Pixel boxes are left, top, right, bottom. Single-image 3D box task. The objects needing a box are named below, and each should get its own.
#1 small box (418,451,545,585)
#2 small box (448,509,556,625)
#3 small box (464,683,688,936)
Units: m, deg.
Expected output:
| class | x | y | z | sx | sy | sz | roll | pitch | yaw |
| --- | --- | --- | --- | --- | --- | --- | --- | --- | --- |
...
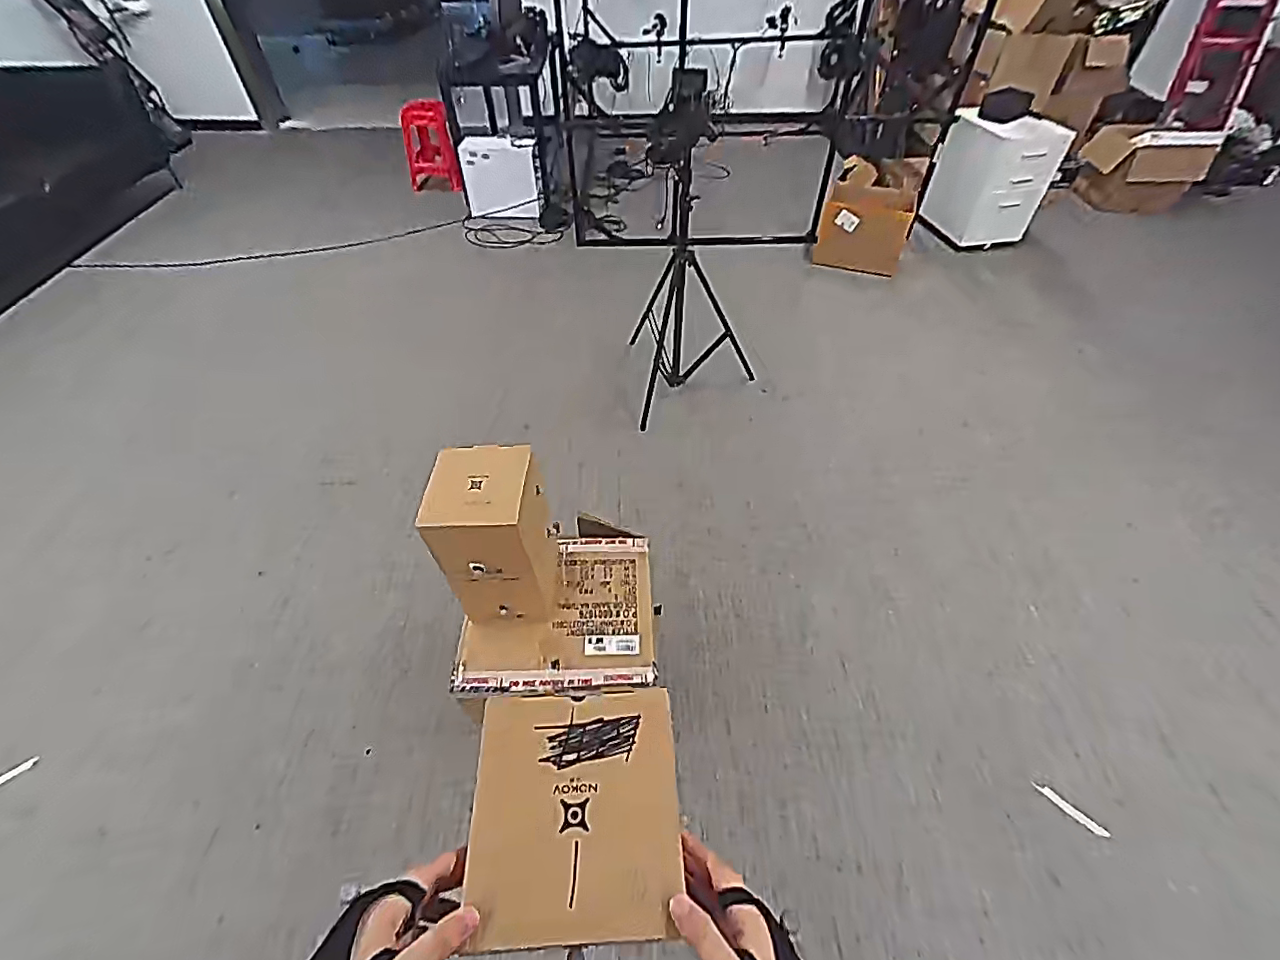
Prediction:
| class | x | y | z | sx | sy | sz | roll | pitch | yaw |
| --- | --- | --- | --- | --- | --- | --- | --- | --- | --- |
| small box | -0.268 | 0.069 | 0.966 | 0.168 | 0.176 | 0.179 | -2 | 50 | 2 |
| small box | -0.266 | 0.174 | 1.089 | 0.168 | 0.176 | 0.179 | -2 | 49 | 1 |
| small box | -0.052 | 0.307 | 0.504 | 0.168 | 0.176 | 0.179 | -2 | 51 | -3 |
